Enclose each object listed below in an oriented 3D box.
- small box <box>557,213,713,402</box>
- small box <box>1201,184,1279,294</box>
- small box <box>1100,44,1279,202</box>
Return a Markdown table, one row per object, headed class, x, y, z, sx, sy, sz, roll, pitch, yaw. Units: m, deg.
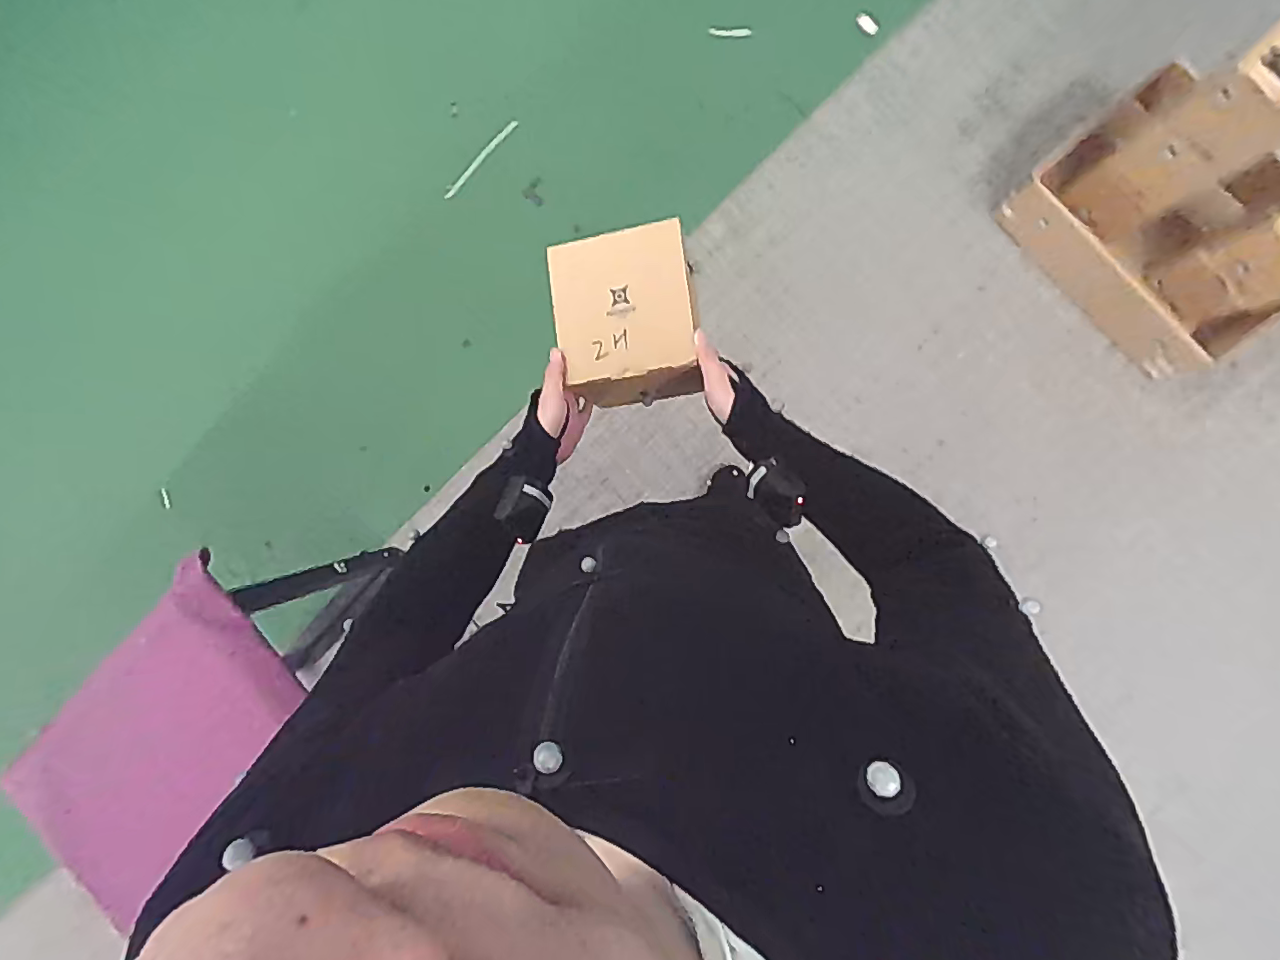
| class | x | y | z | sx | sy | sz | roll | pitch | yaw |
| --- | --- | --- | --- | --- | --- | --- | --- | --- | --- |
| small box | 0.002 | -0.211 | 0.710 | 0.168 | 0.176 | 0.179 | -7 | 87 | 12 |
| small box | 1.345 | -0.517 | 1.111 | 0.179 | 0.176 | 0.168 | -38 | 87 | 10 |
| small box | 1.138 | -0.733 | 1.131 | 0.179 | 0.176 | 0.168 | -45 | 85 | 8 |
